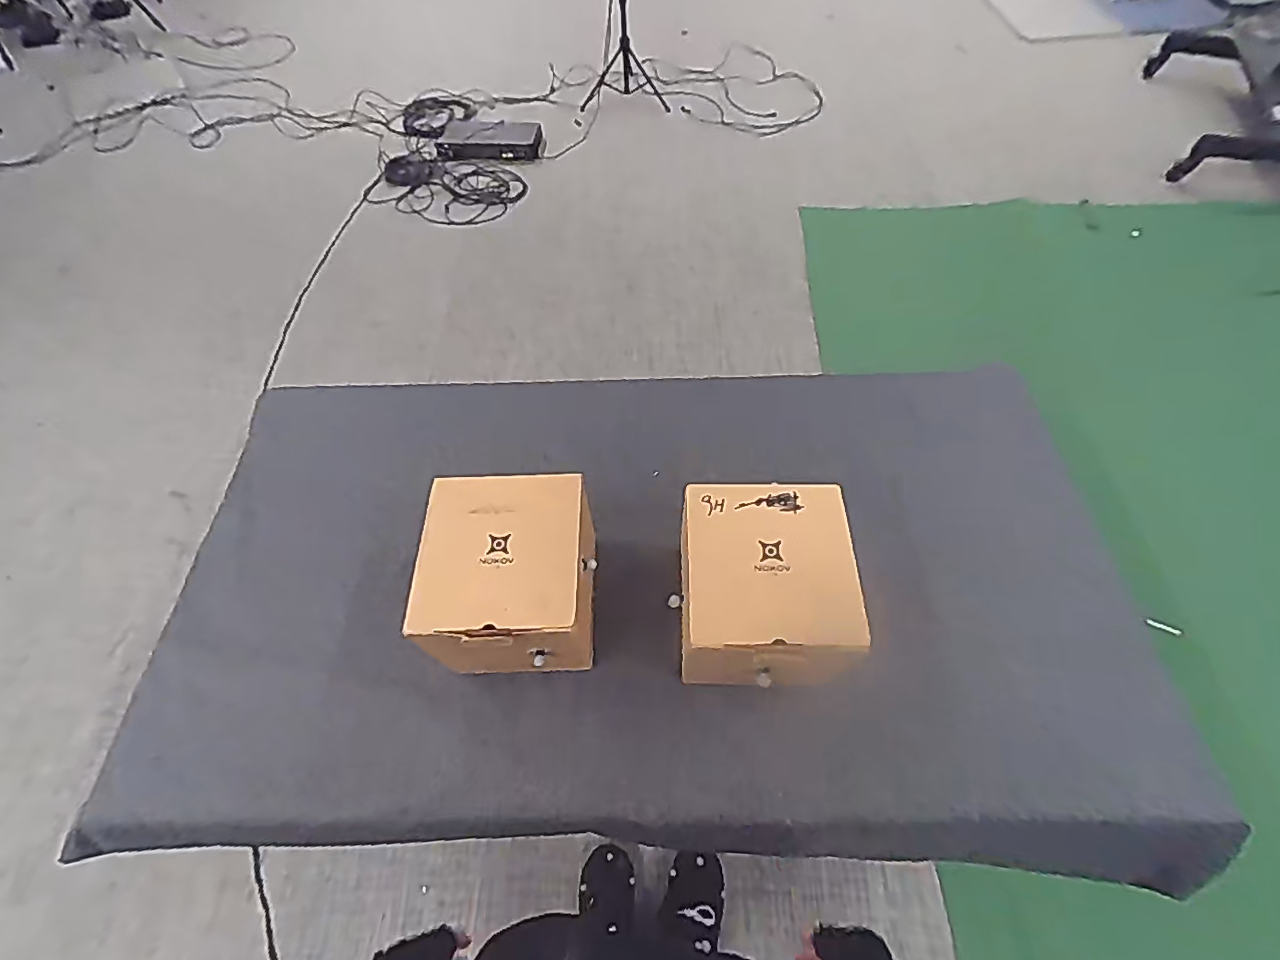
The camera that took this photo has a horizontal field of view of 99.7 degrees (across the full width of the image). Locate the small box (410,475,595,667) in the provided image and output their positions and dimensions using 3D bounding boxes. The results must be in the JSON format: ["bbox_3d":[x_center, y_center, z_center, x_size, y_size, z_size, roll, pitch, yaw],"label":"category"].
[{"bbox_3d":[-0.141,0.113,0.629,0.168,0.176,0.179,-2,57,-1],"label":"small box"}]
